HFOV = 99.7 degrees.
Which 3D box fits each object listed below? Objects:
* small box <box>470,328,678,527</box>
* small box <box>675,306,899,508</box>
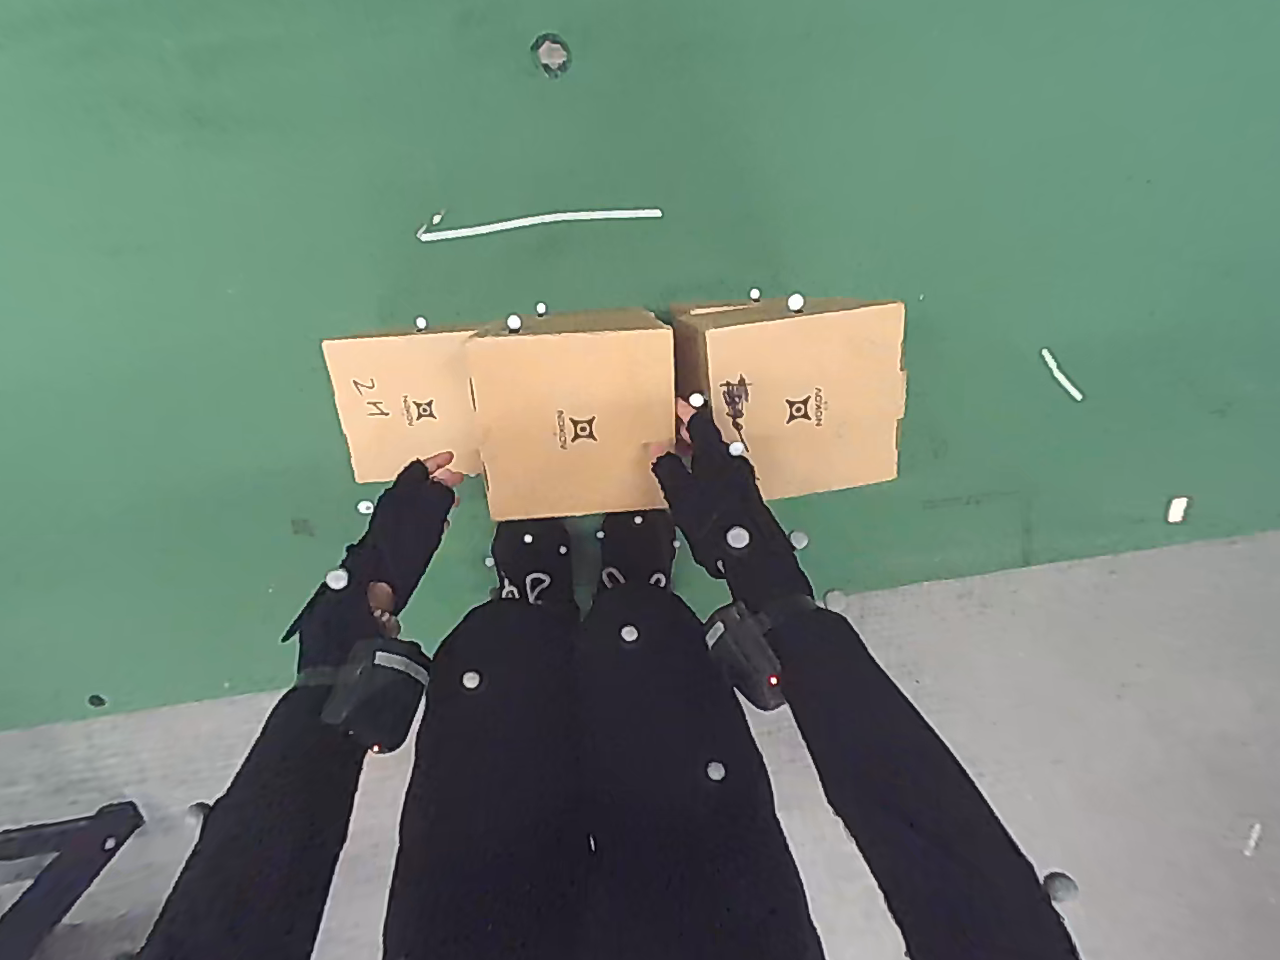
[{"bbox_3d":[-0.060,-0.064,0.553,0.179,0.176,0.168,-3,110,-3],"label":"small box"},{"bbox_3d":[0.139,-0.087,0.567,0.179,0.176,0.168,-7,111,-2],"label":"small box"}]
